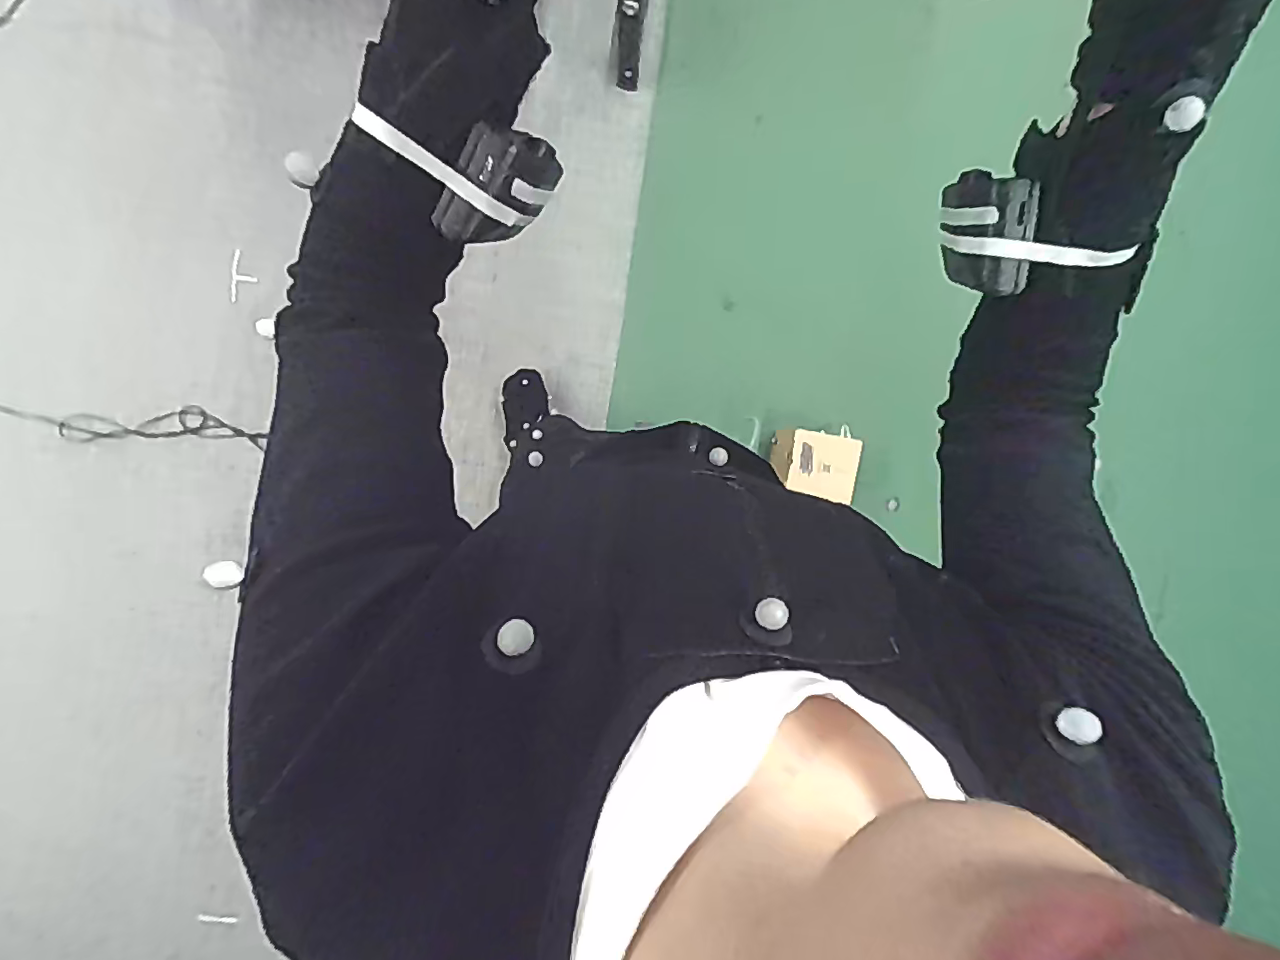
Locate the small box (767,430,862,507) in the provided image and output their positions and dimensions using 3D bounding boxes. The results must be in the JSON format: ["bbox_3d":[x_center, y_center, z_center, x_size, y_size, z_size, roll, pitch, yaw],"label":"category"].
[{"bbox_3d":[0.449,-0.032,1.421,0.179,0.176,0.168,11,93,-5],"label":"small box"}]
